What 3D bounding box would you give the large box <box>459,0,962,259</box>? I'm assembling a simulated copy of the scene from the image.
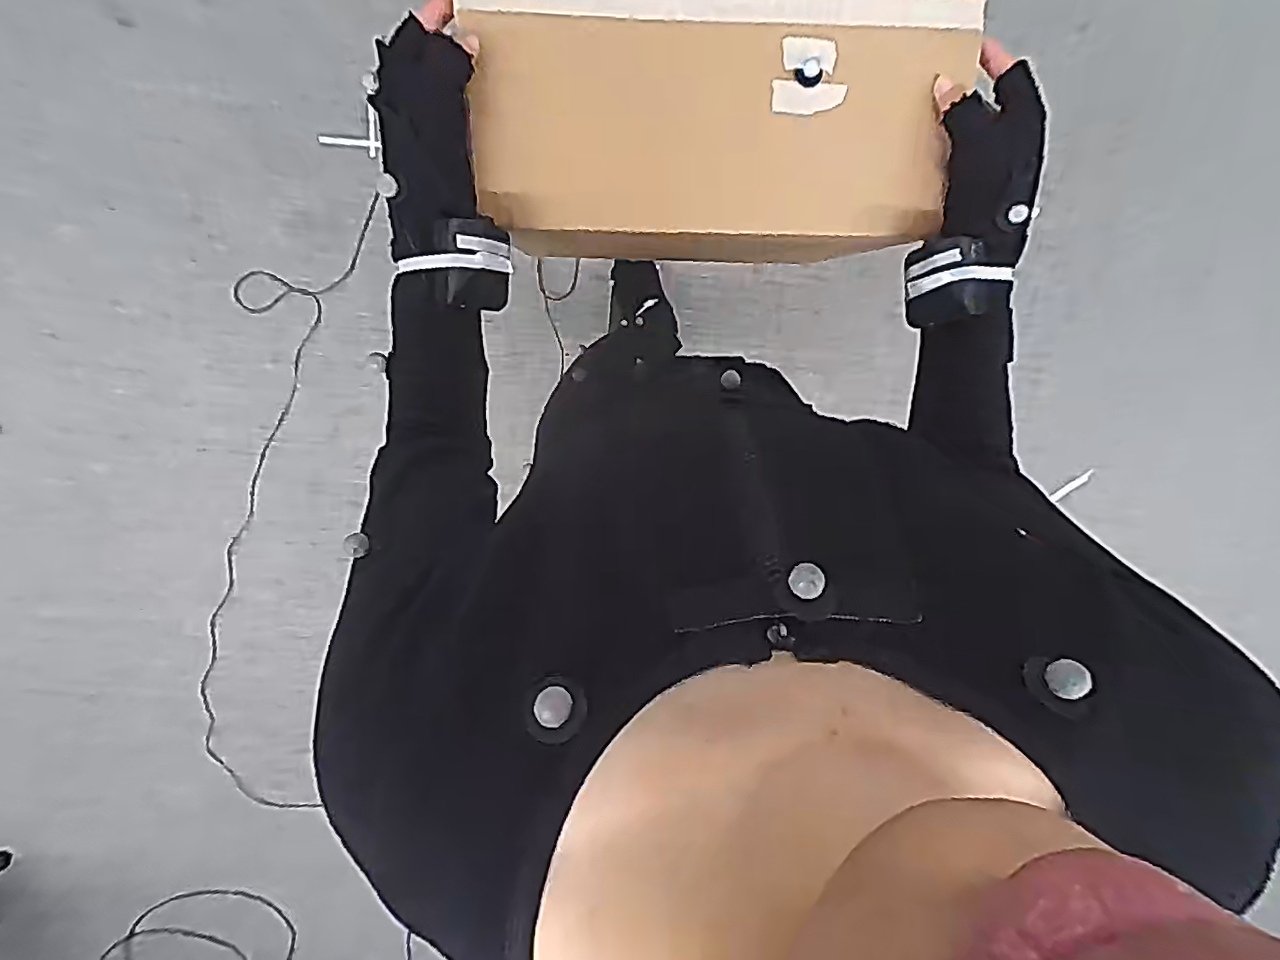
[{"bbox_3d":[0.048,-0.414,0.564,0.408,0.320,0.320,-1,108,-3],"label":"large box"}]
